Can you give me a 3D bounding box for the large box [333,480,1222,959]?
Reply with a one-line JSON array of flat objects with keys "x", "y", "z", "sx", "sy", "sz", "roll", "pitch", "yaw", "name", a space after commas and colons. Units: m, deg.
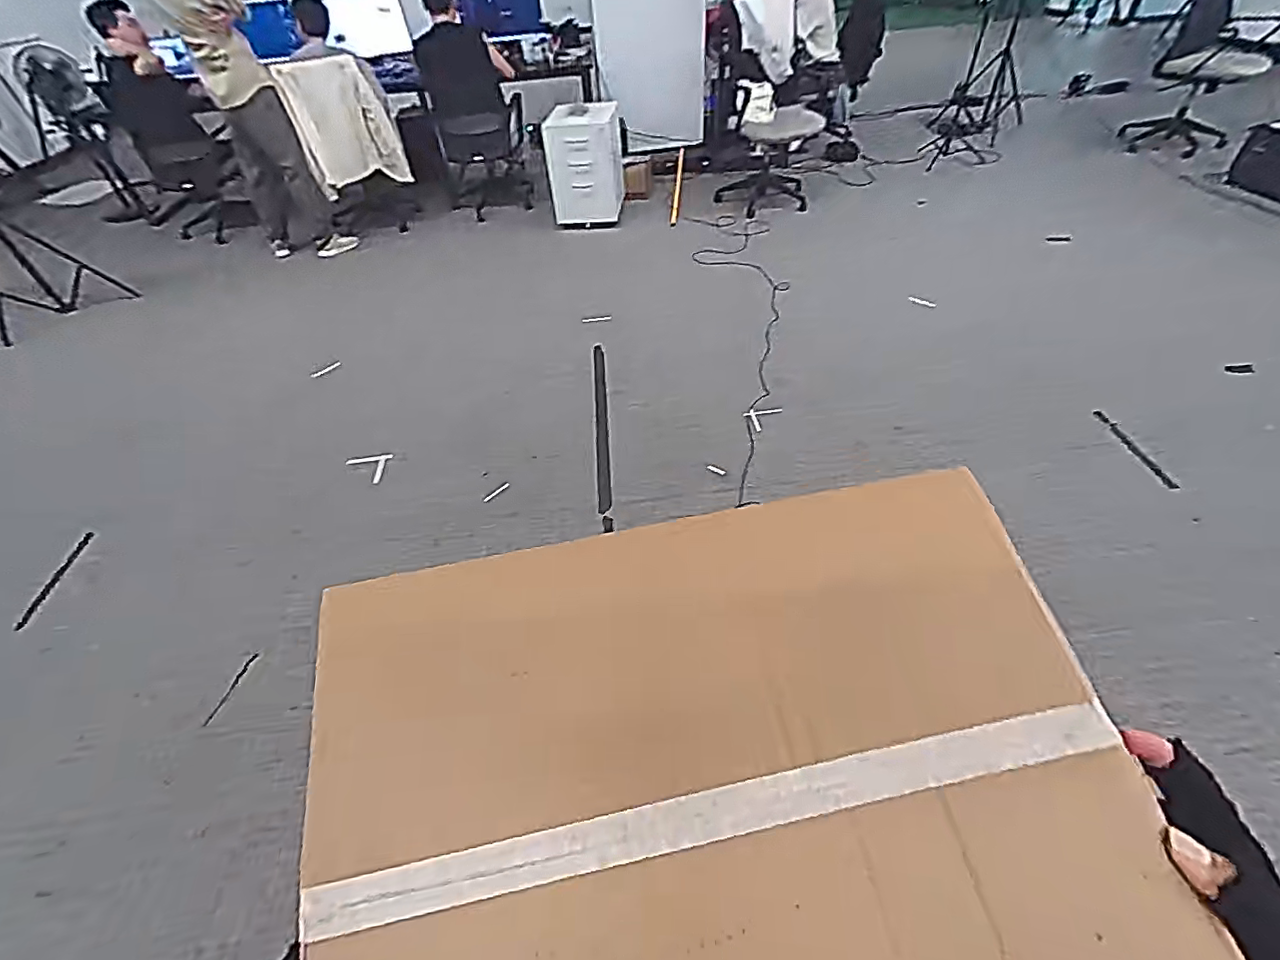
[{"x": 0.050, "y": 0.238, "z": 0.406, "sx": 0.408, "sy": 0.320, "sz": 0.320, "roll": -10, "pitch": 63, "yaw": -4, "name": "large box"}]
